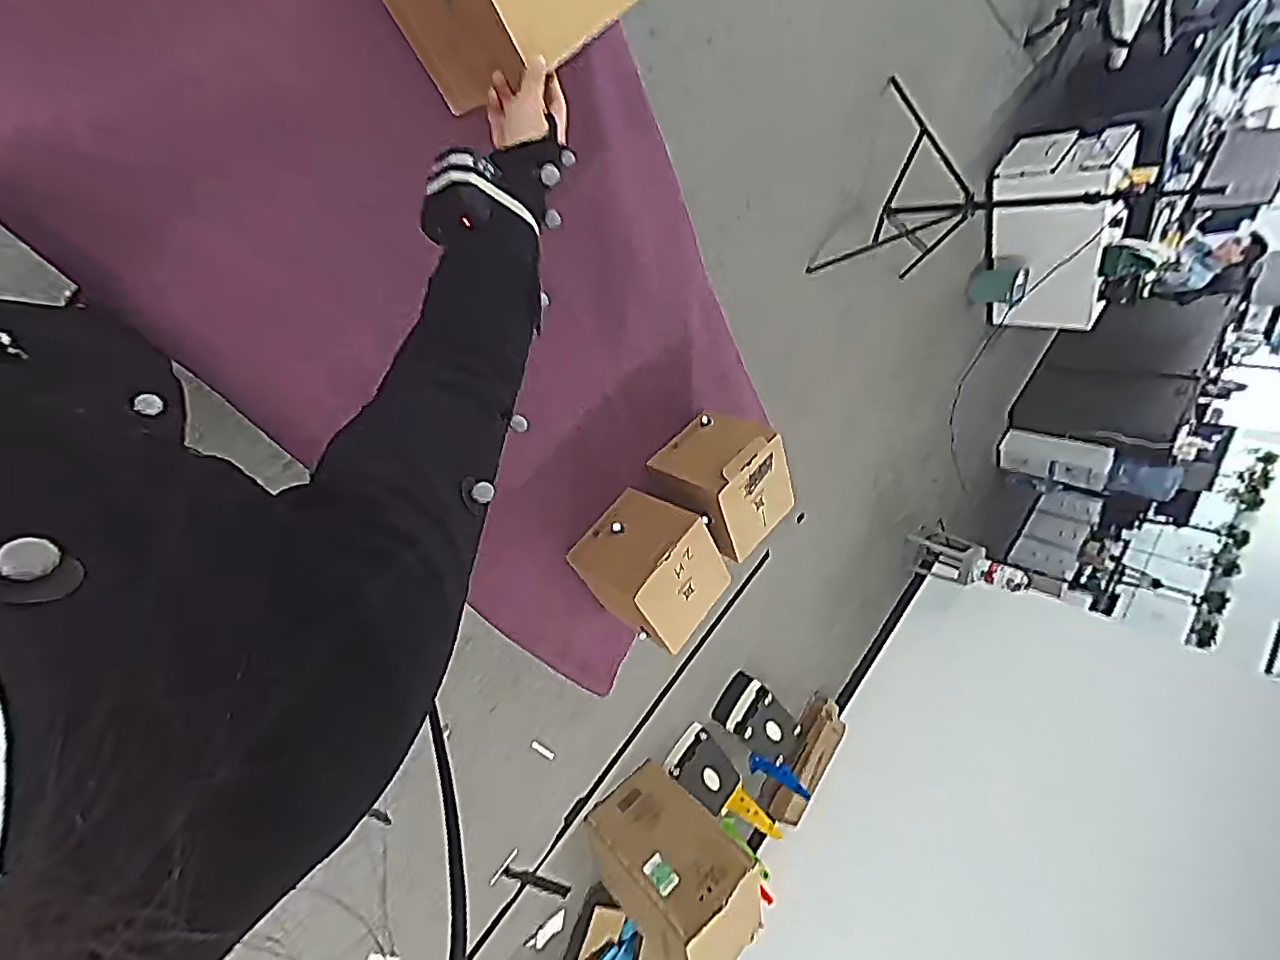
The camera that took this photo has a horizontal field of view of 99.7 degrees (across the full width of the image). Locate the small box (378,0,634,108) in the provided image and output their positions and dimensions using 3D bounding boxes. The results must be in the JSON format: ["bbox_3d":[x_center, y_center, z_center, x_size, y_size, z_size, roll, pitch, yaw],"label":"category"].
[{"bbox_3d":[-0.143,-0.488,0.514,0.168,0.176,0.179,-50,134,-17],"label":"small box"}]

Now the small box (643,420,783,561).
[{"bbox_3d":[0.130,0.009,0.972,0.168,0.176,0.179,-42,132,-23],"label":"small box"}]

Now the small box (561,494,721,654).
[{"bbox_3d":[0.003,0.149,0.905,0.168,0.176,0.179,-48,132,-22],"label":"small box"}]
